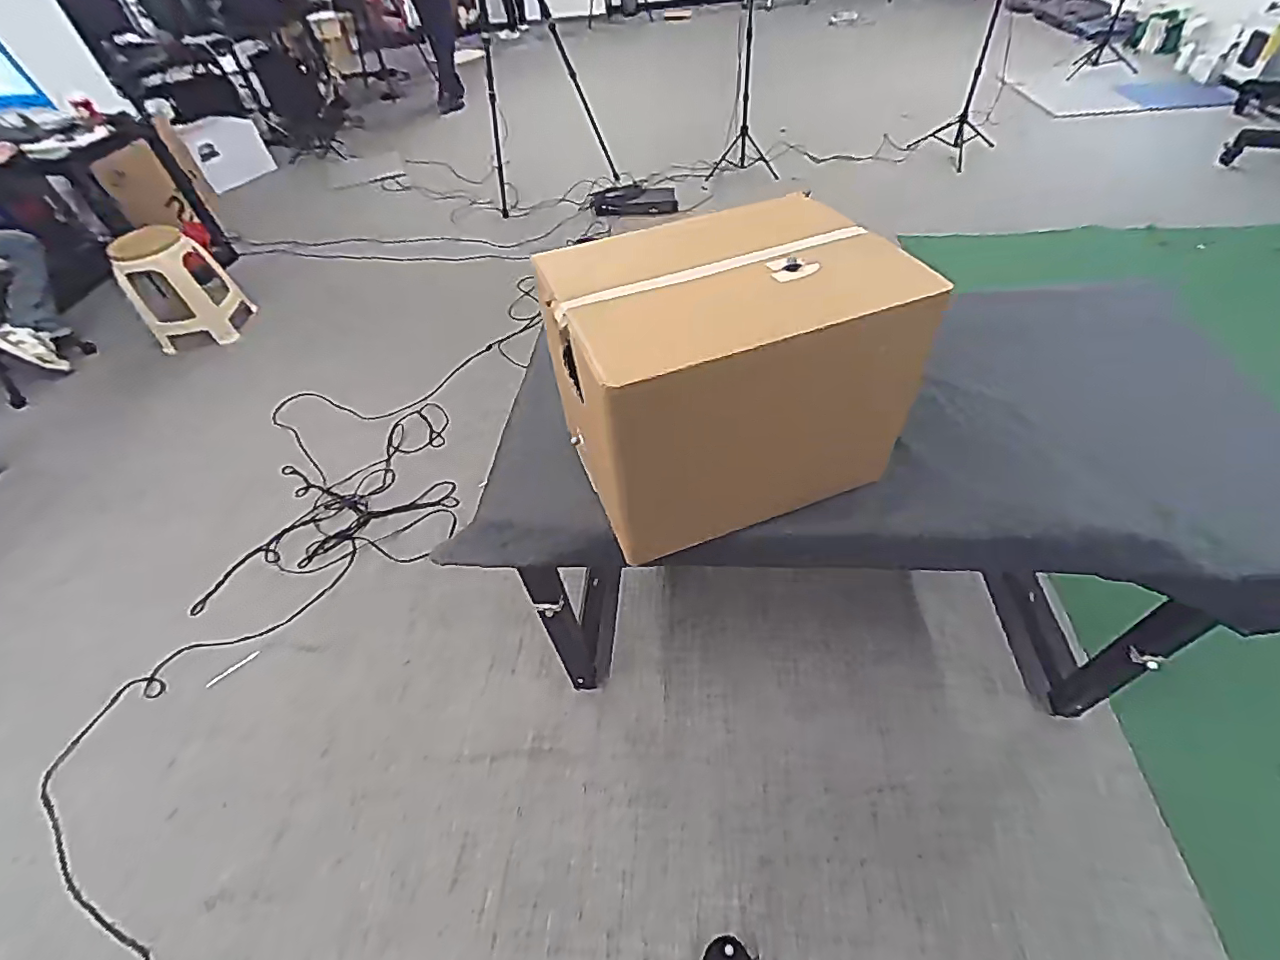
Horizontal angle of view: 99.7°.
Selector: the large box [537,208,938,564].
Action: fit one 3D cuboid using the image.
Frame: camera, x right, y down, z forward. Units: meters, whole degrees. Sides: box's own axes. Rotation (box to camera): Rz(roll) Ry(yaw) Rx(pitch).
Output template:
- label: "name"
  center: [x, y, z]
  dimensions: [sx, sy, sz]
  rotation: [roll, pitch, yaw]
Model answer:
- label: "large box"
  center: [0.107, -0.141, 0.767]
  dimensions: [0.408, 0.320, 0.320]
  rotation: [-18, 49, -12]
